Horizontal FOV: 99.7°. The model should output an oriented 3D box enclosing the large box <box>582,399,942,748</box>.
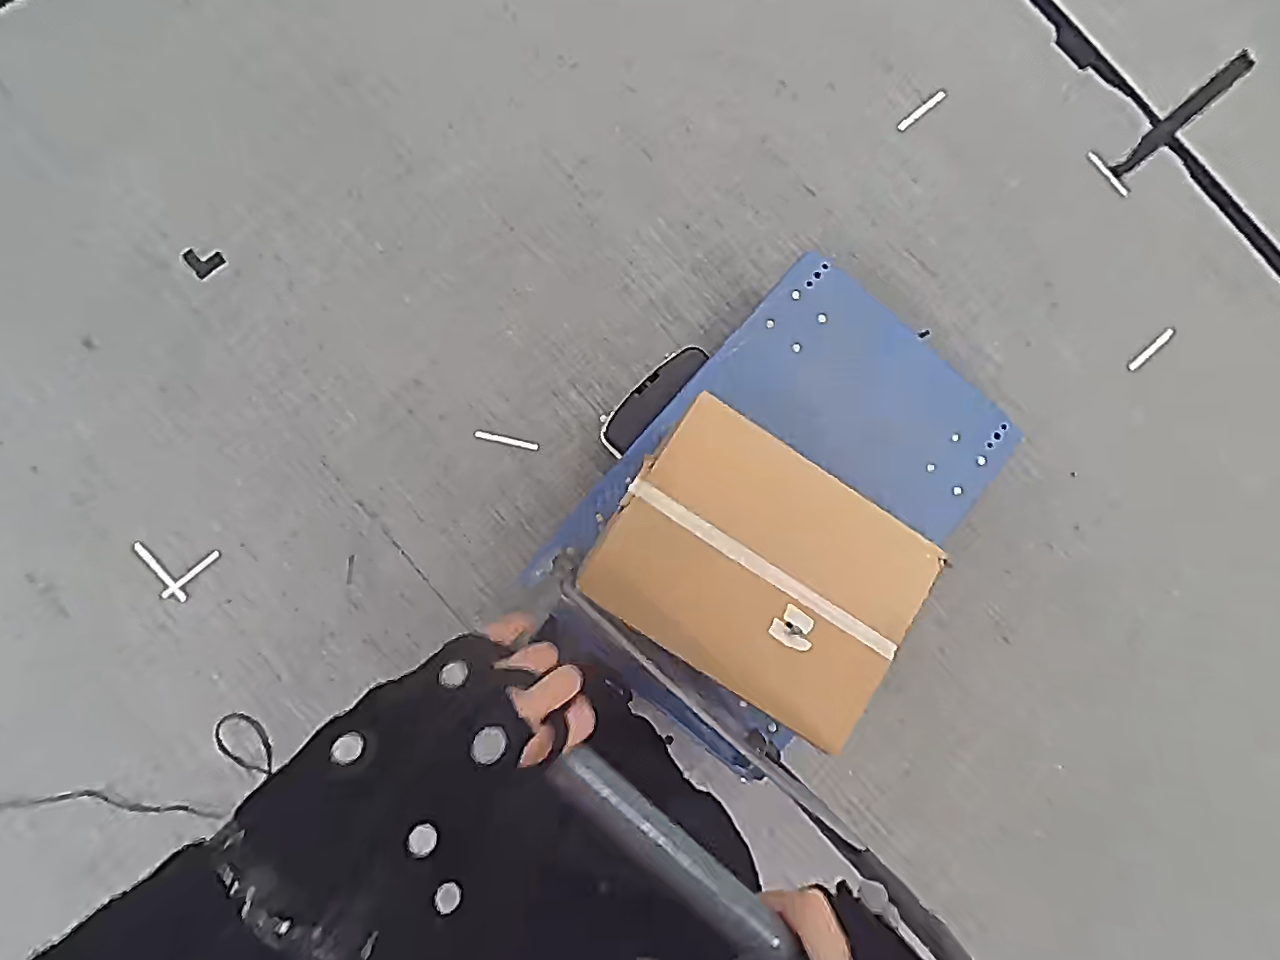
[{"bbox_3d":[0.154,0.133,0.861,0.408,0.320,0.320,33,83,-3],"label":"large box"}]
